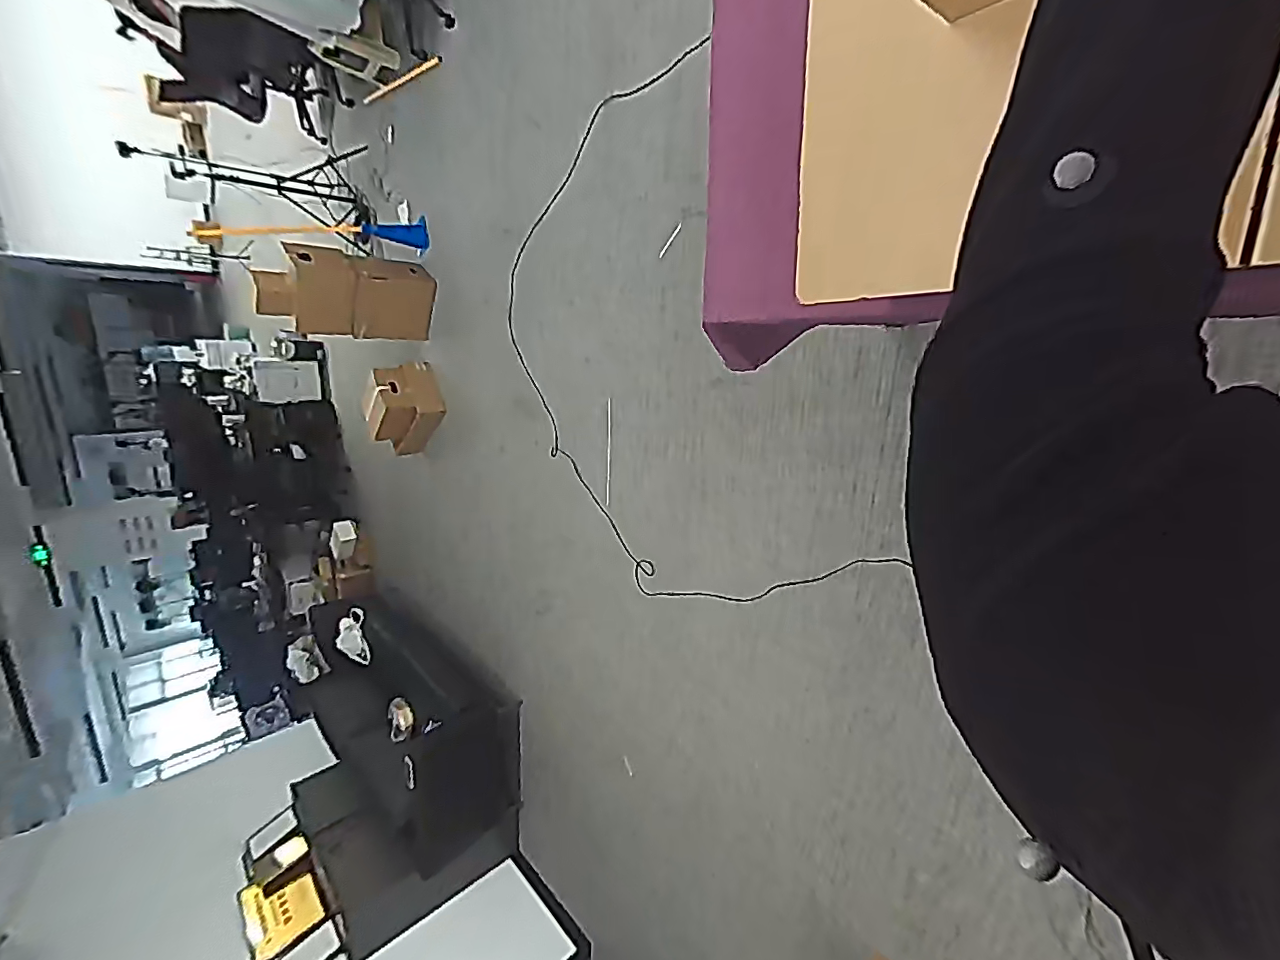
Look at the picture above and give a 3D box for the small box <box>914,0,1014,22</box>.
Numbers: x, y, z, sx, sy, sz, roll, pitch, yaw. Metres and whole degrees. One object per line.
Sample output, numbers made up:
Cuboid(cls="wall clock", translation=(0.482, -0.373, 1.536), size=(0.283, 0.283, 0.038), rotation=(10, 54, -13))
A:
Cuboid(cls="small box", translation=(0.293, -0.494, 0.400), size=(0.179, 0.176, 0.168), rotation=(19, 113, 51))
